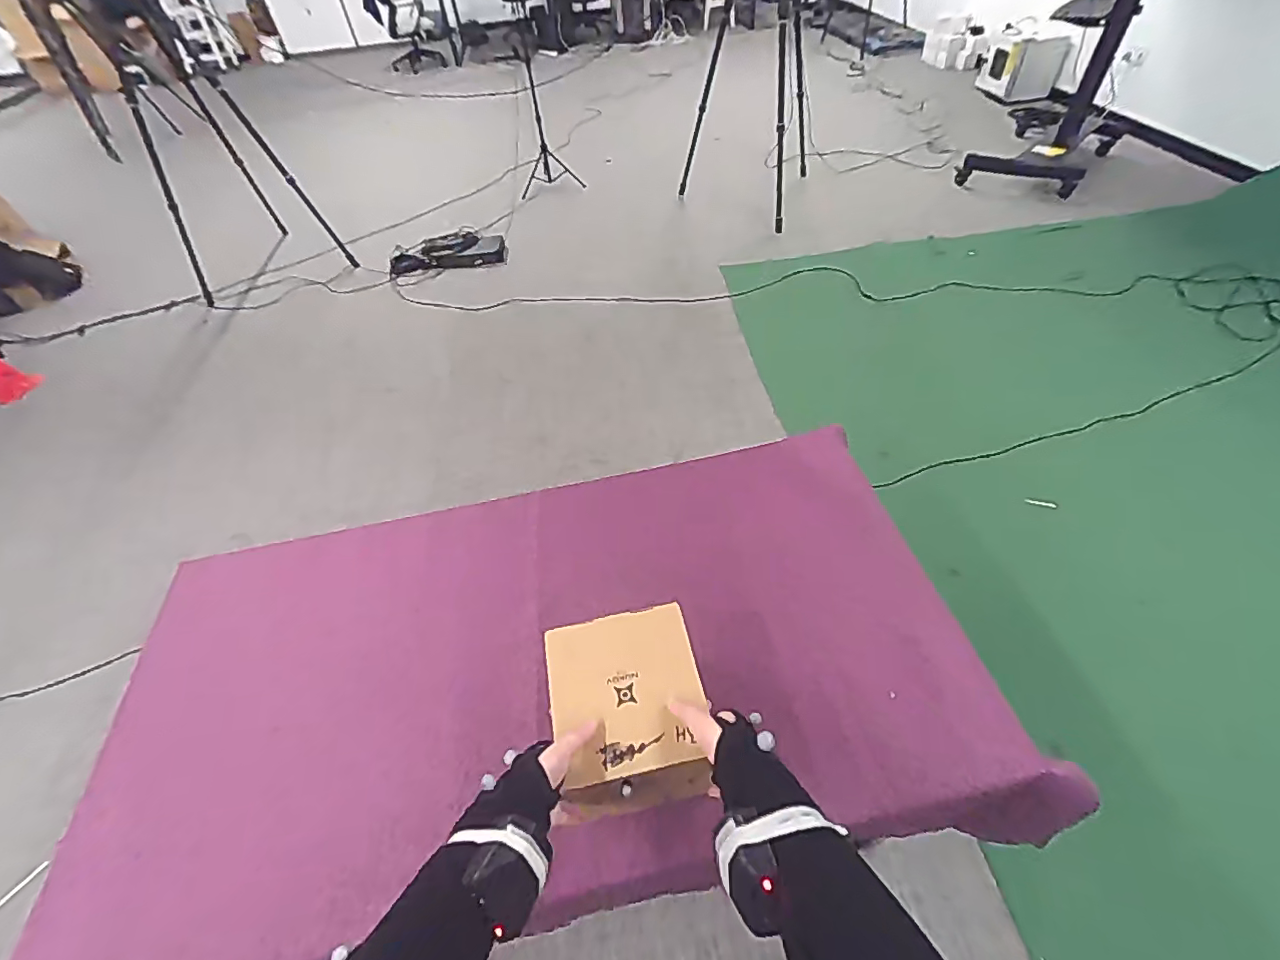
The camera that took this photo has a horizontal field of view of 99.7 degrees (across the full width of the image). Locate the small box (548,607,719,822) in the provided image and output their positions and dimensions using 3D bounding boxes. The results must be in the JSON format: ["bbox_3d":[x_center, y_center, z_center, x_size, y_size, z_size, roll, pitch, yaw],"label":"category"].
[{"bbox_3d":[-0.009,0.283,0.651,0.168,0.176,0.179,-12,49,-3],"label":"small box"}]
